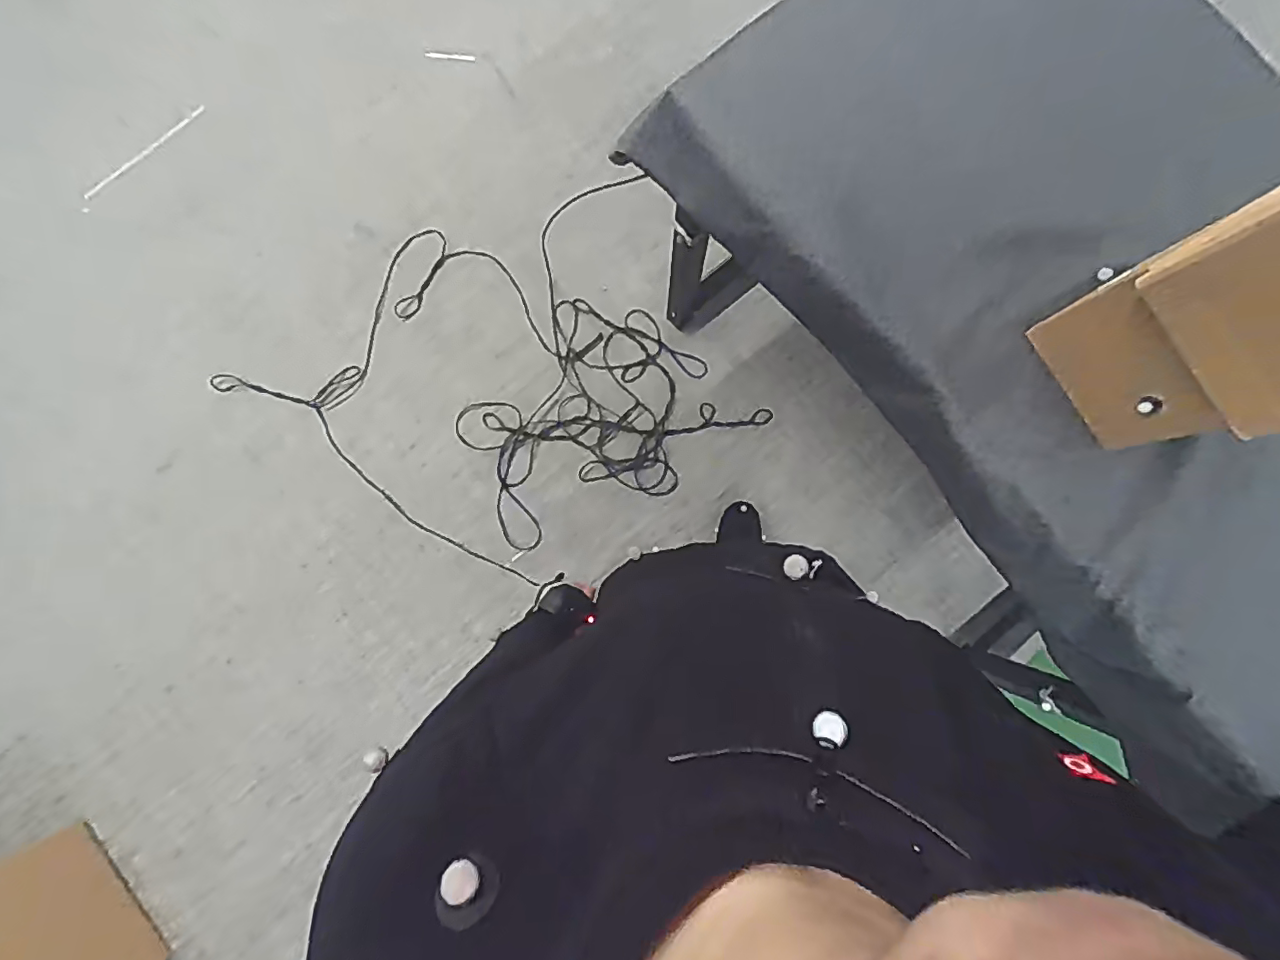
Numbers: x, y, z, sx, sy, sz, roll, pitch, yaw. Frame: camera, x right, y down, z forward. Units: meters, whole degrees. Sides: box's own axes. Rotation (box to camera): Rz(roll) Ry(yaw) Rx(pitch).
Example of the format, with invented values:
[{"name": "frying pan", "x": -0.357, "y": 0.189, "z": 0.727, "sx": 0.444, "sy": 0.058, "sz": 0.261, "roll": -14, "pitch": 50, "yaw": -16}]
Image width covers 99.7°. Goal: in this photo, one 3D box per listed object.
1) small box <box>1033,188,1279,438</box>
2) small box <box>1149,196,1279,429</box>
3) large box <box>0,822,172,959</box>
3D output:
[{"name": "small box", "x": 0.590, "y": -0.159, "z": 0.583, "sx": 0.168, "sy": 0.176, "sz": 0.179, "roll": -31, "pitch": 84, "yaw": -3}, {"name": "small box", "x": 0.573, "y": -0.161, "z": 0.420, "sx": 0.168, "sy": 0.176, "sz": 0.179, "roll": -30, "pitch": 86, "yaw": -3}, {"name": "large box", "x": -1.358, "y": 1.066, "z": 1.159, "sx": 0.320, "sy": 0.320, "sz": 0.408, "roll": -39, "pitch": 84, "yaw": -3}]
